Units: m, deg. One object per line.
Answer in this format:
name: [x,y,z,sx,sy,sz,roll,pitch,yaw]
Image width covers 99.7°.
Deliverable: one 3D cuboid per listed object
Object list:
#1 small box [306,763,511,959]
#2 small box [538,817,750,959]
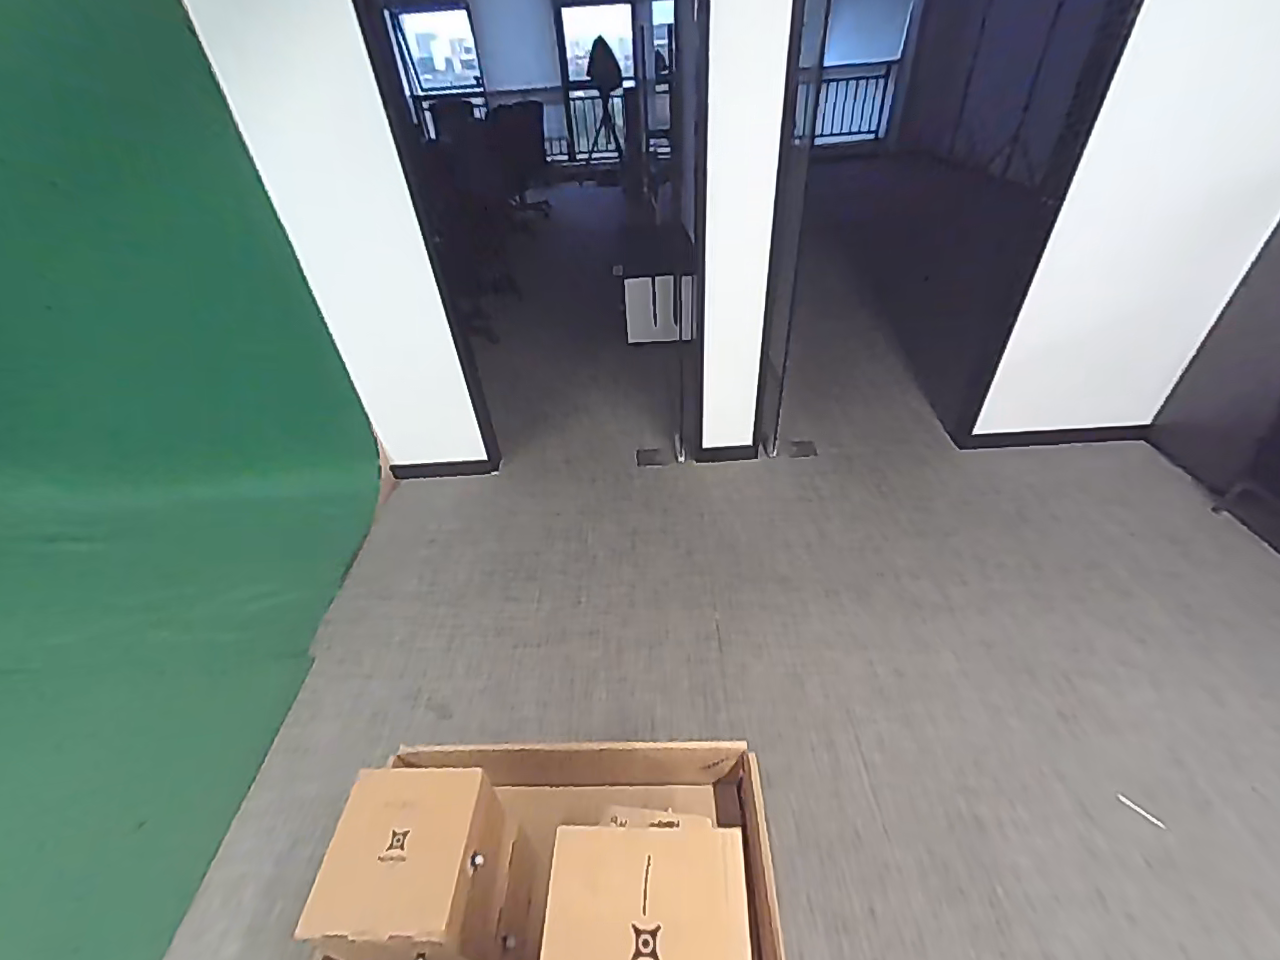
small box: [-0.277,0.492,0.699,0.168,0.176,0.179,-2,39,4]
small box: [0.012,0.418,0.477,0.168,0.176,0.179,-4,45,7]
